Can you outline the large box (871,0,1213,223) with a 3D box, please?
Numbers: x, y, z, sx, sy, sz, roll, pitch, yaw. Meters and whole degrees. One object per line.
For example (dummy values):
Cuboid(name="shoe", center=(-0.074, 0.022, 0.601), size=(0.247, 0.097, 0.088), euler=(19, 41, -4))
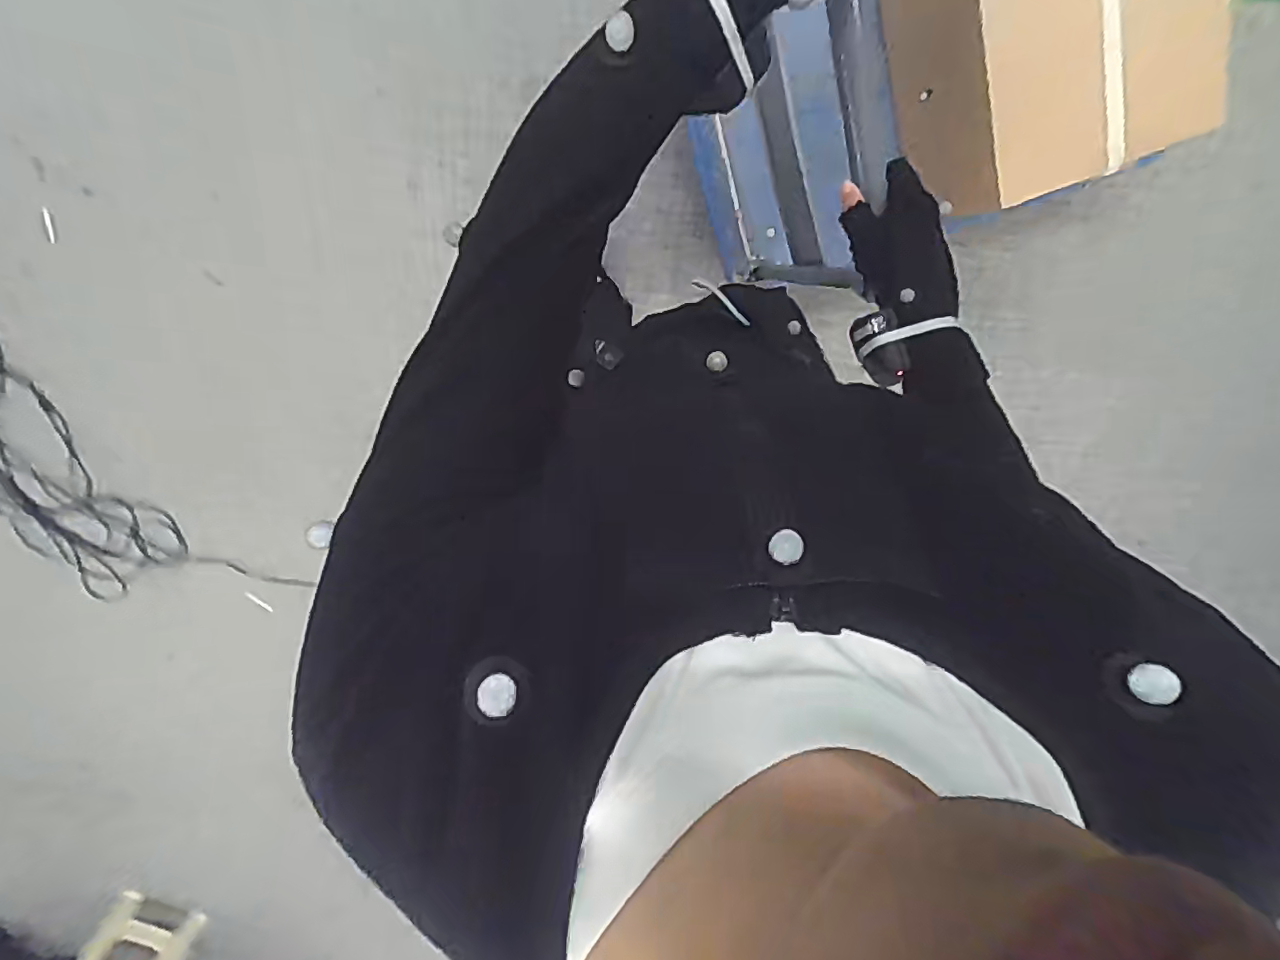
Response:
Cuboid(name="large box", center=(0.613, -0.685, 0.872), size=(0.320, 0.320, 0.408), euler=(-18, 110, 9))
